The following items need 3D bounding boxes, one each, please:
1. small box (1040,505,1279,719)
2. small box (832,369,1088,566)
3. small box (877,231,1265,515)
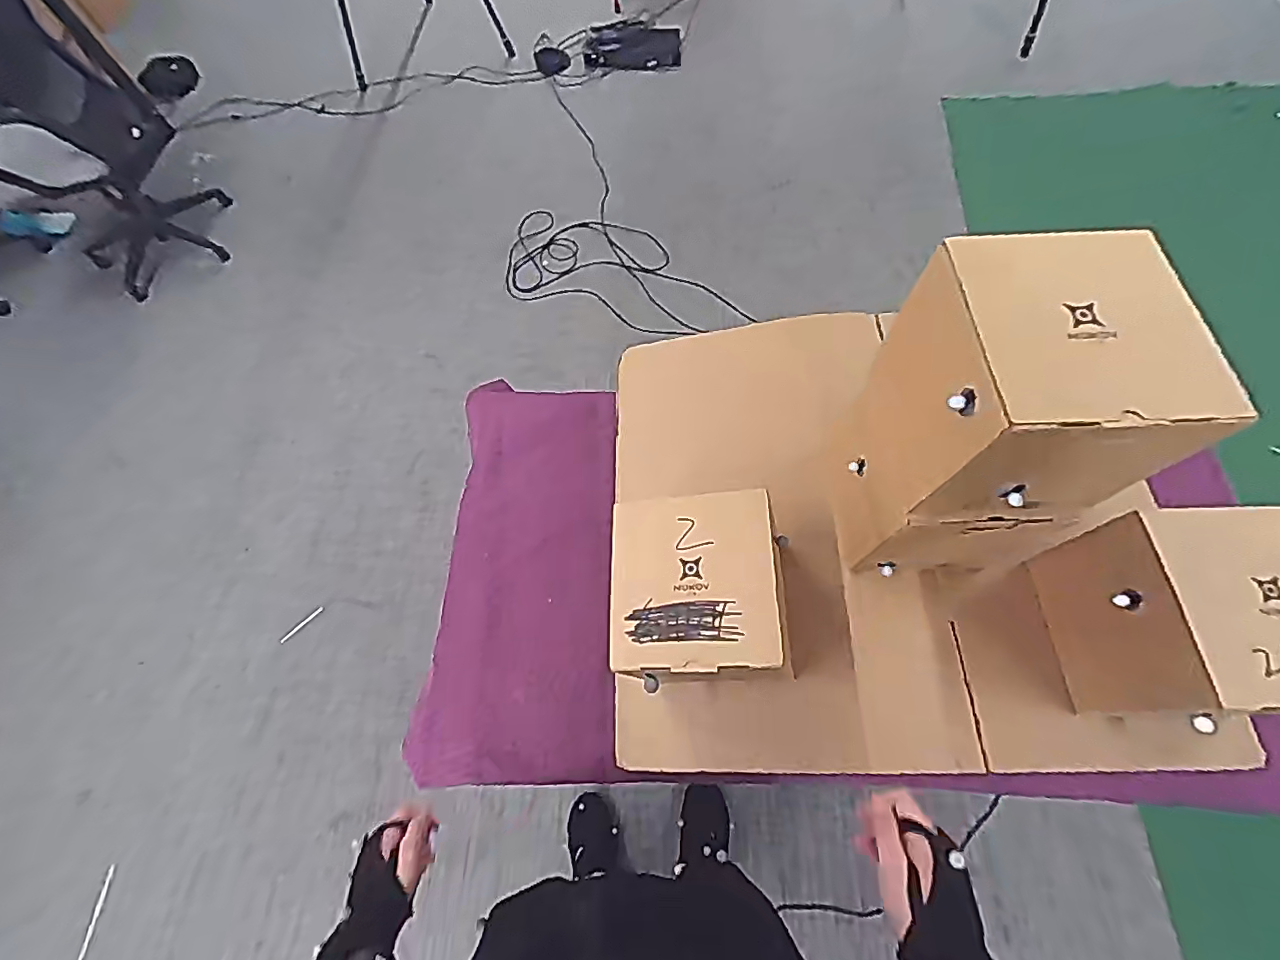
[{"bbox_3d":[0.543,0.136,0.531,0.168,0.176,0.179,-1,65,2],"label":"small box"},{"bbox_3d":[0.330,-0.006,0.602,0.168,0.176,0.179,-1,64,0],"label":"small box"},{"bbox_3d":[0.324,-0.081,0.459,0.168,0.176,0.179,-2,66,0],"label":"small box"}]
